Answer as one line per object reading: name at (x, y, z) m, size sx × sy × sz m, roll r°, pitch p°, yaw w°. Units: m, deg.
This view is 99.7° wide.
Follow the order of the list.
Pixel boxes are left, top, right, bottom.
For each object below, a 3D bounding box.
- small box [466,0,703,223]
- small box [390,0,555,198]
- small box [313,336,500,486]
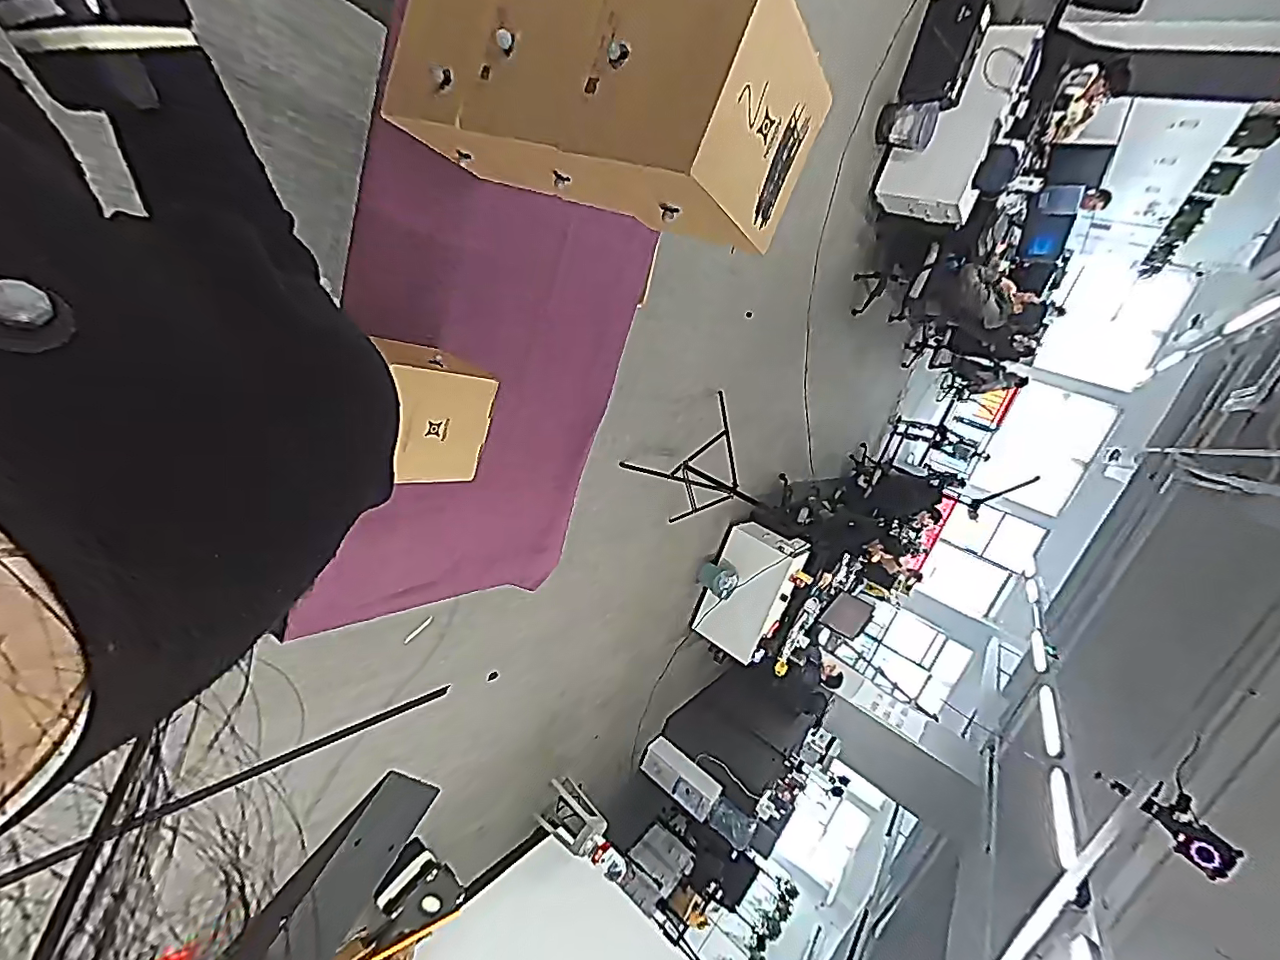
small box at (-0.062, -0.426, 0.619) m, size 0.179 × 0.176 × 0.168 m, roll 2°, pitch 113°, yaw -56°
small box at (-0.190, -0.498, 0.692) m, size 0.168 × 0.176 × 0.179 m, roll 3°, pitch 112°, yaw -58°
small box at (-0.343, -0.101, 0.796) m, size 0.179 × 0.176 × 0.168 m, roll -3°, pitch 116°, yaw -55°
